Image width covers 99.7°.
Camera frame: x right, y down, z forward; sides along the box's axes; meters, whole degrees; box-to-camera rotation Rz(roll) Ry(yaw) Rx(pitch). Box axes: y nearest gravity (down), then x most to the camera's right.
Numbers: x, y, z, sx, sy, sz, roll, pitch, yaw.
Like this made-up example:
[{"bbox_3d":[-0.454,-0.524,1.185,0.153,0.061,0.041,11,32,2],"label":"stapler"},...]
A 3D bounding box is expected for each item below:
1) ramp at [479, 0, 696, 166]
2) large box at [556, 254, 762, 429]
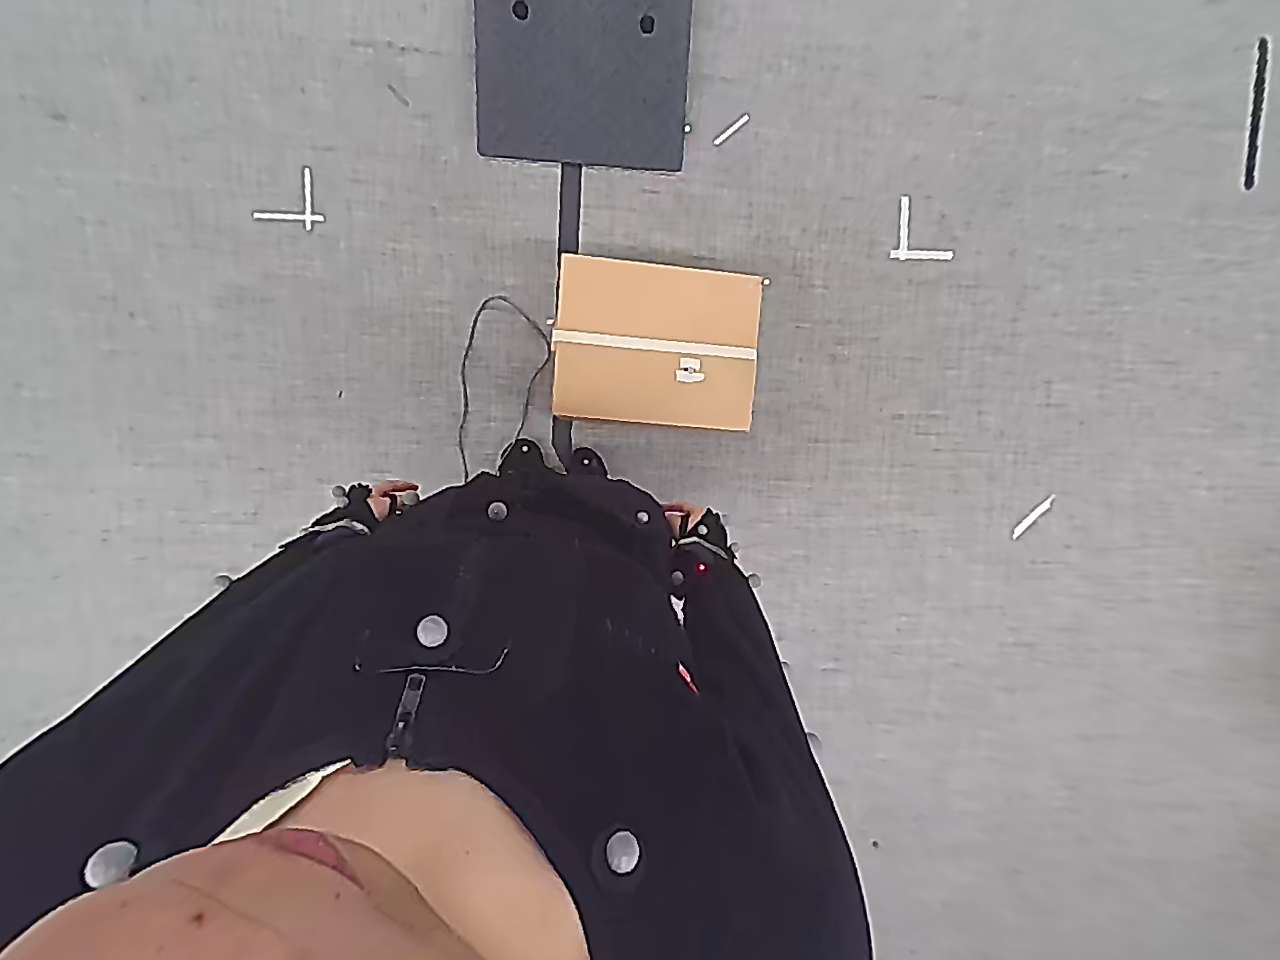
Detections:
[{"bbox_3d":[-0.103,-1.255,1.172,0.509,0.206,0.991,0,96,-7],"label":"ramp"},{"bbox_3d":[0.021,-0.283,1.220,0.408,0.320,0.320,4,95,-7],"label":"large box"}]
